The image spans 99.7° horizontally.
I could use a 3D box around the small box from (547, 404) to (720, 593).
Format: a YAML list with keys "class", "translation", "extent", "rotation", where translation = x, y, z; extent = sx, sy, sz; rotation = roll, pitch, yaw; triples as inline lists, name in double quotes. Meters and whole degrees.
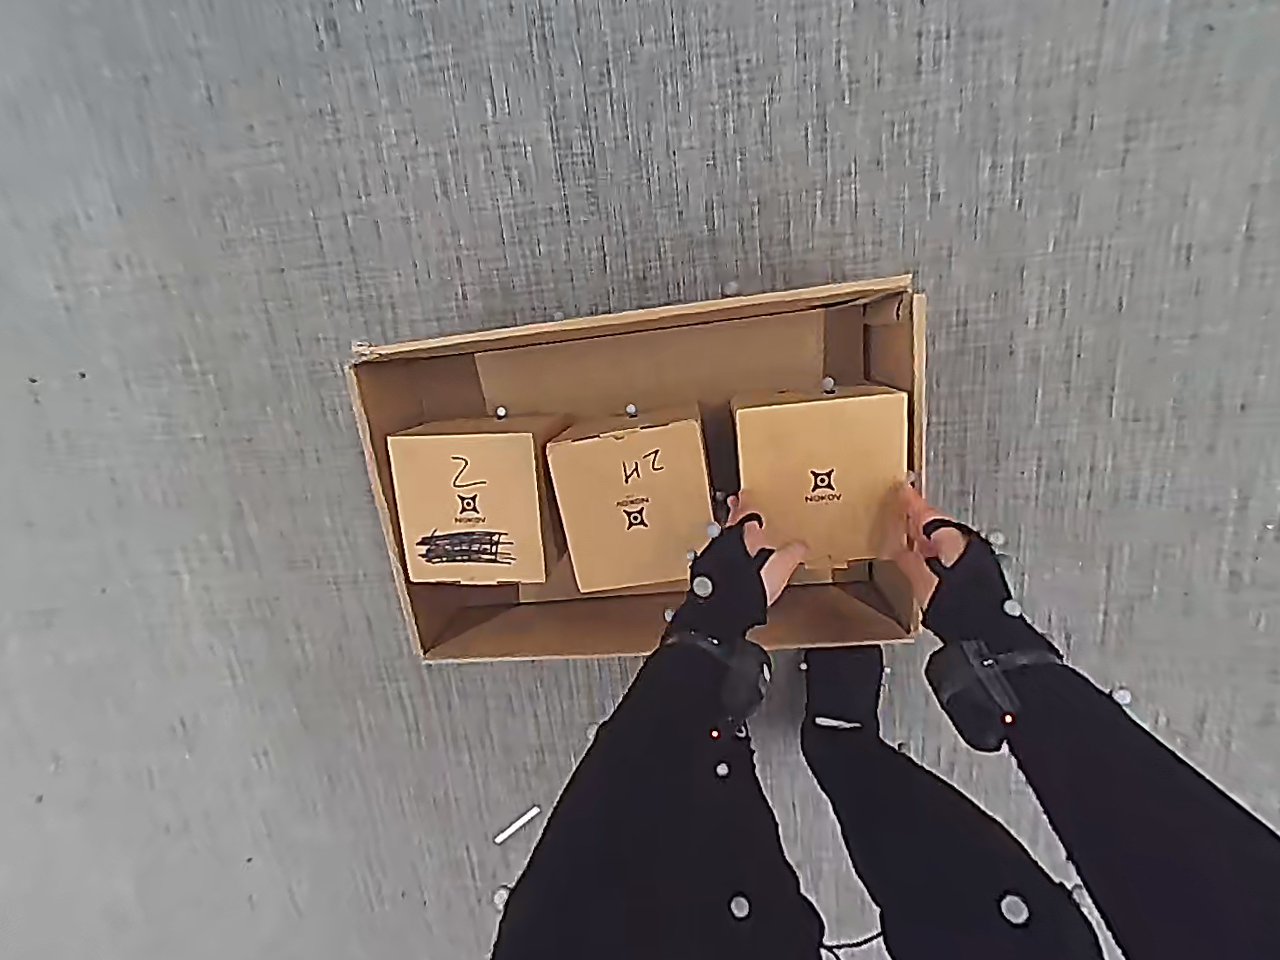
- class: "small box"
  translation: [0.003, 0.014, 0.658]
  extent: [0.168, 0.176, 0.179]
  rotation: [-9, 103, 7]
